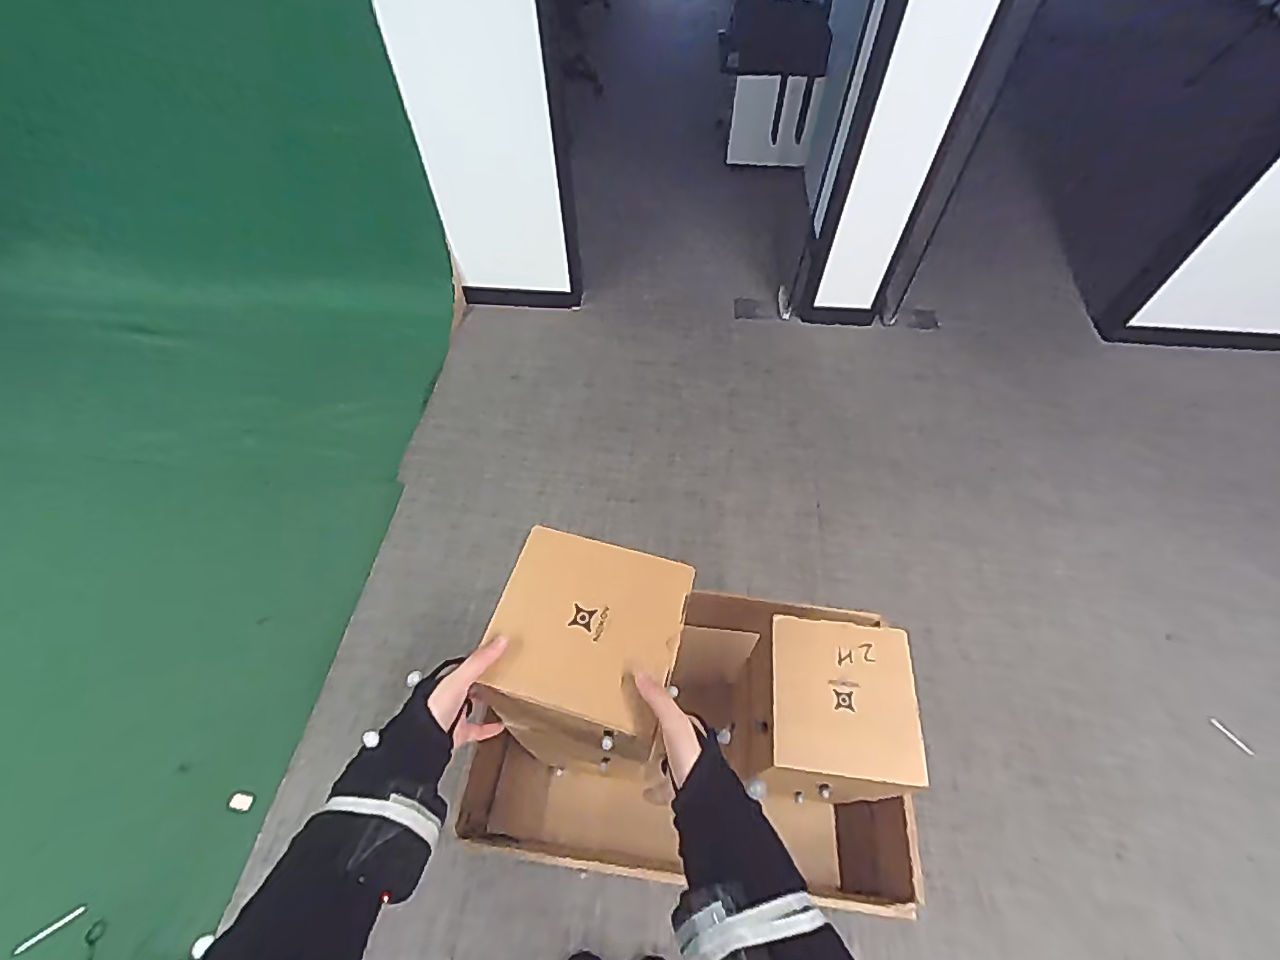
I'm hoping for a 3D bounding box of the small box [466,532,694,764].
[{"bbox_3d":[-0.053,0.183,0.574,0.179,0.176,0.168,14,56,8],"label":"small box"}]

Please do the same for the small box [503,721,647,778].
[{"bbox_3d":[-0.058,0.273,0.710,0.168,0.176,0.179,11,55,7],"label":"small box"}]

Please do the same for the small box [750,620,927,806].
[{"bbox_3d":[0.235,0.299,0.685,0.168,0.176,0.179,6,55,5],"label":"small box"}]
